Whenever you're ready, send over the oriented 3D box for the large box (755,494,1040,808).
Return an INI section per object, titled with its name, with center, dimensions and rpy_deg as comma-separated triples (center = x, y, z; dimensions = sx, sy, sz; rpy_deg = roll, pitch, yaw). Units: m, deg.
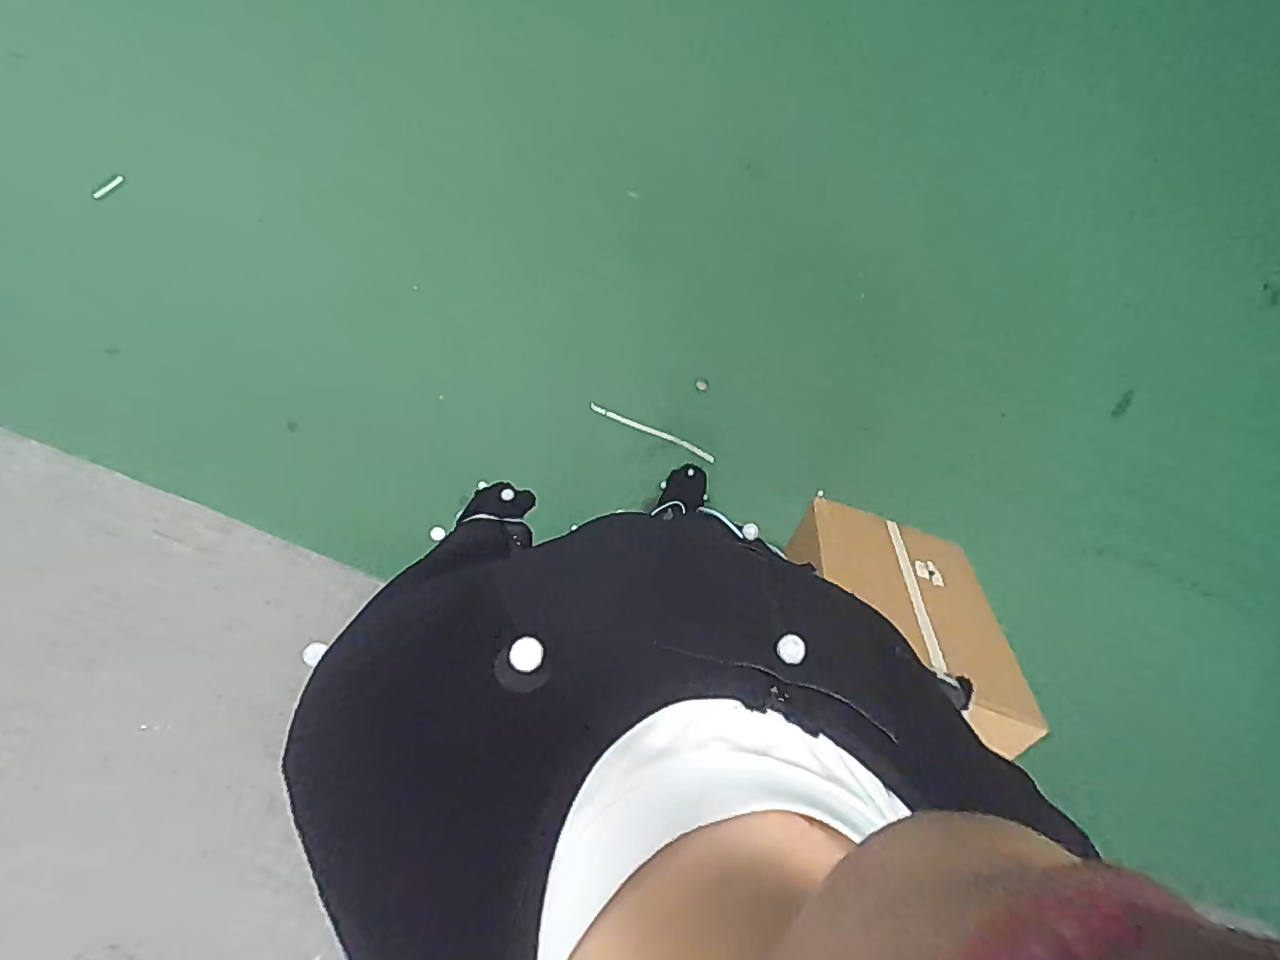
[large box]
center = 0.412, 0.297, 0.997
dimensions = 0.320, 0.408, 0.320
rpy_deg = 20, 124, 0
